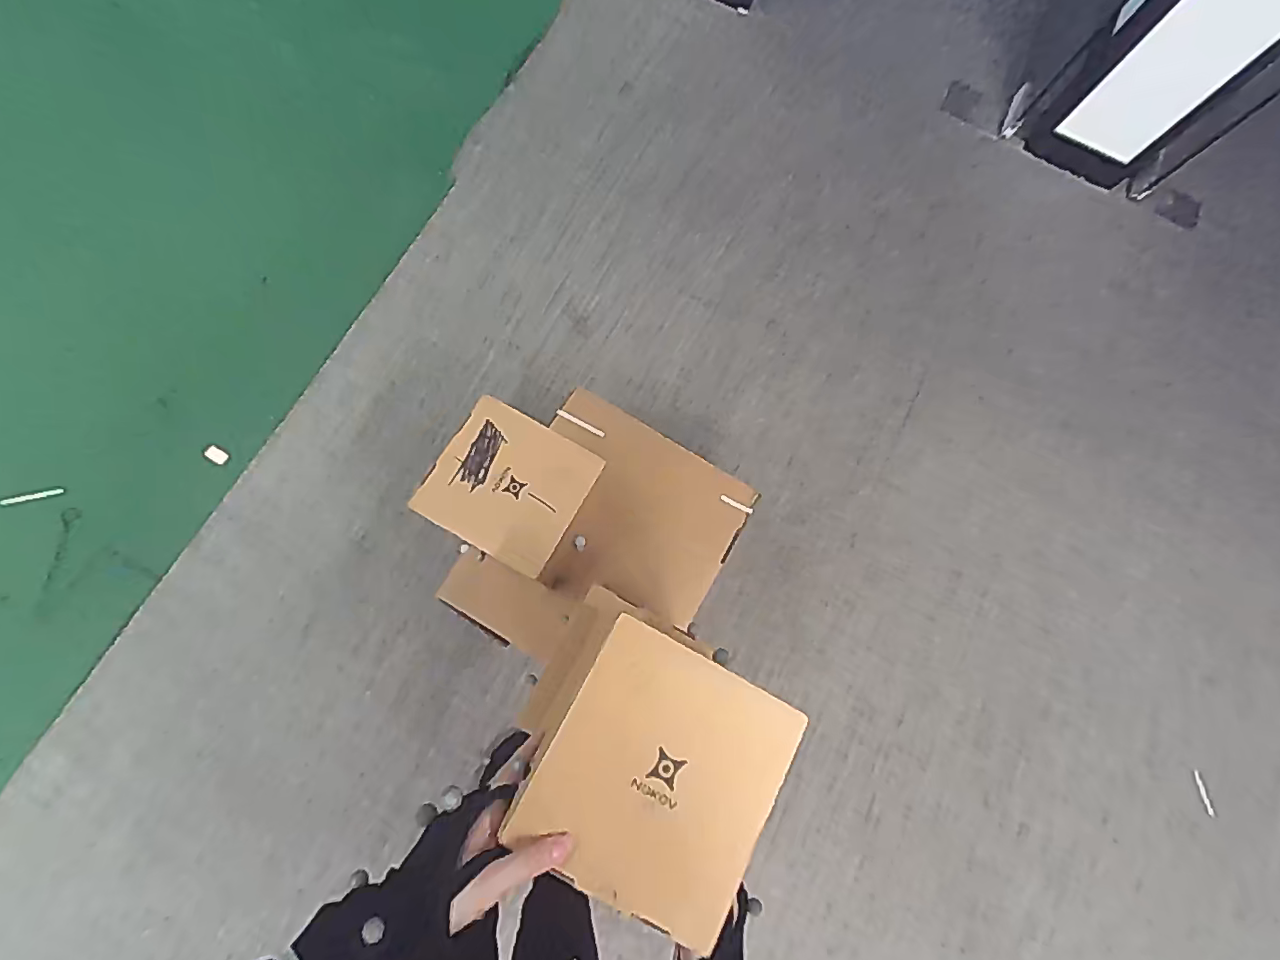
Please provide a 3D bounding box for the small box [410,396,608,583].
[{"bbox_3d":[-0.157,0.025,0.710,0.179,0.176,0.168,29,75,3],"label":"small box"}]

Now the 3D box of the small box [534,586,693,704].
[{"bbox_3d":[-0.040,0.277,0.833,0.179,0.176,0.168,28,75,1],"label":"small box"}]

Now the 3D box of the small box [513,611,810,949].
[{"bbox_3d":[0.010,0.226,0.466,0.168,0.176,0.179,29,76,-1],"label":"small box"}]
